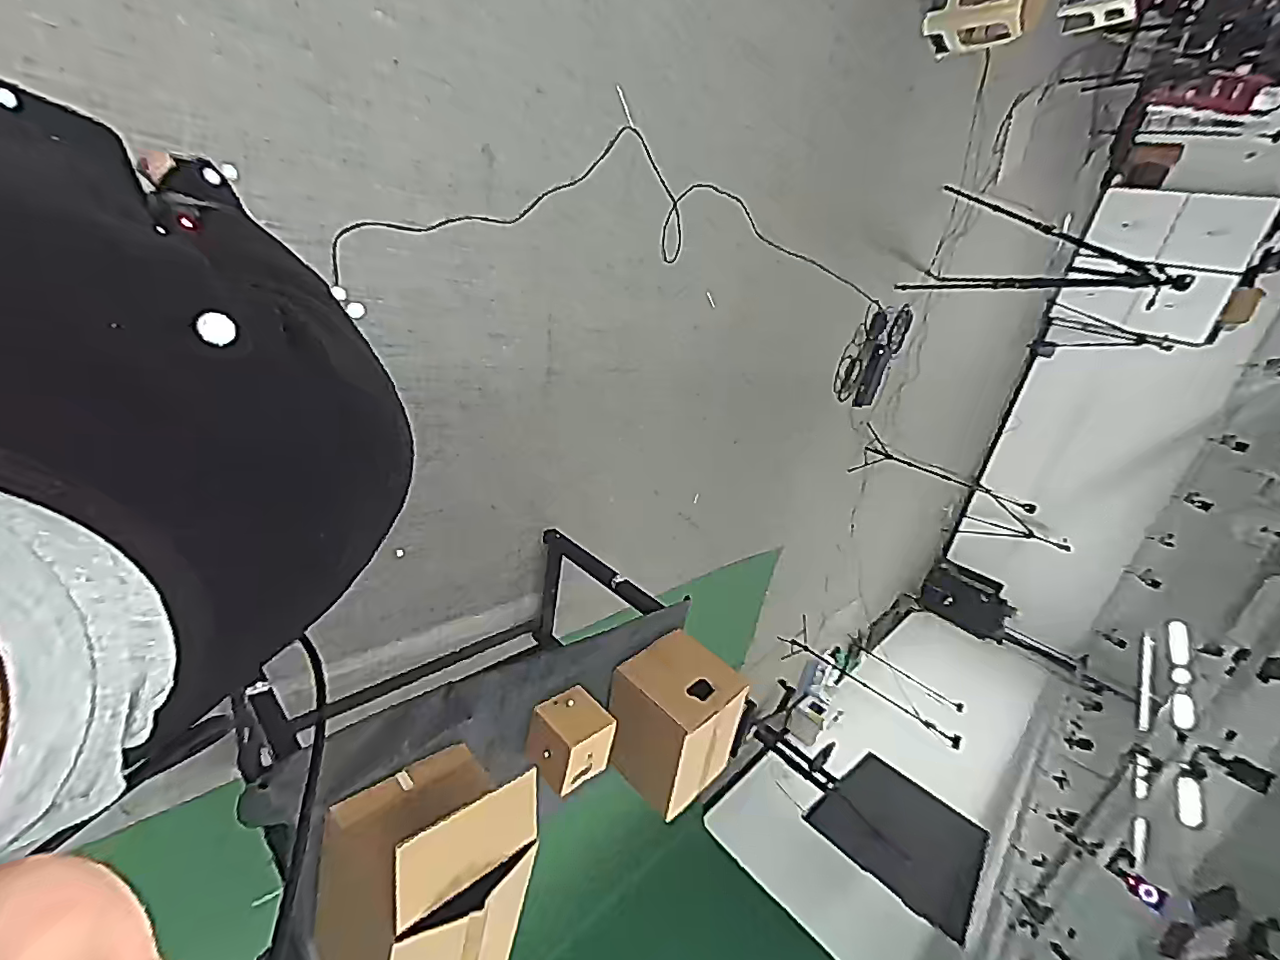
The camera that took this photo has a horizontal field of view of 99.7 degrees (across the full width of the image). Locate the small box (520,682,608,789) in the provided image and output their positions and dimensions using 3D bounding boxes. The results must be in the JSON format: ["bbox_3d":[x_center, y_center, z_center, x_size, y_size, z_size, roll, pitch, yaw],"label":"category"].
[{"bbox_3d":[-0.219,0.712,1.524,0.168,0.176,0.179,-9,120,-48],"label":"small box"}]
